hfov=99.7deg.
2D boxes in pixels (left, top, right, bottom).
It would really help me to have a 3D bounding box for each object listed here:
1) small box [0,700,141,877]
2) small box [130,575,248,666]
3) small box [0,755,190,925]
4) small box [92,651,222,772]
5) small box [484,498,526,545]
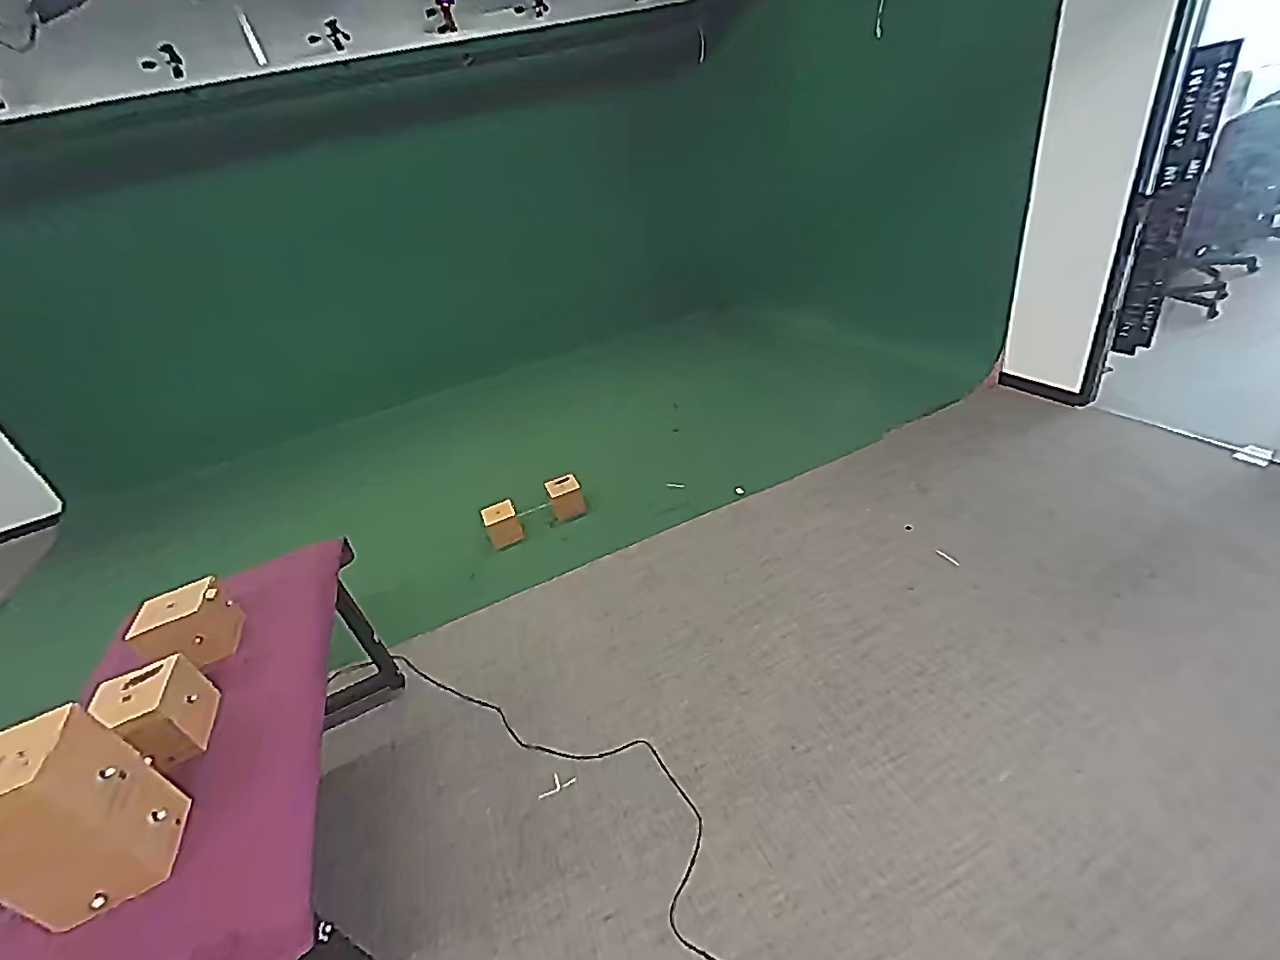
[{"bbox_3d":[-1.016,0.521,0.911,0.179,0.176,0.168,-22,34,-15],"label":"small box"},{"bbox_3d":[-1.229,0.400,1.493,0.179,0.176,0.168,-22,33,-14],"label":"small box"},{"bbox_3d":[-0.986,0.659,0.995,0.179,0.176,0.168,-22,32,-15],"label":"small box"},{"bbox_3d":[-1.100,0.535,1.233,0.168,0.176,0.179,-23,34,-15],"label":"small box"},{"bbox_3d":[-0.733,0.234,2.939,0.168,0.176,0.179,-22,32,-14],"label":"small box"}]
